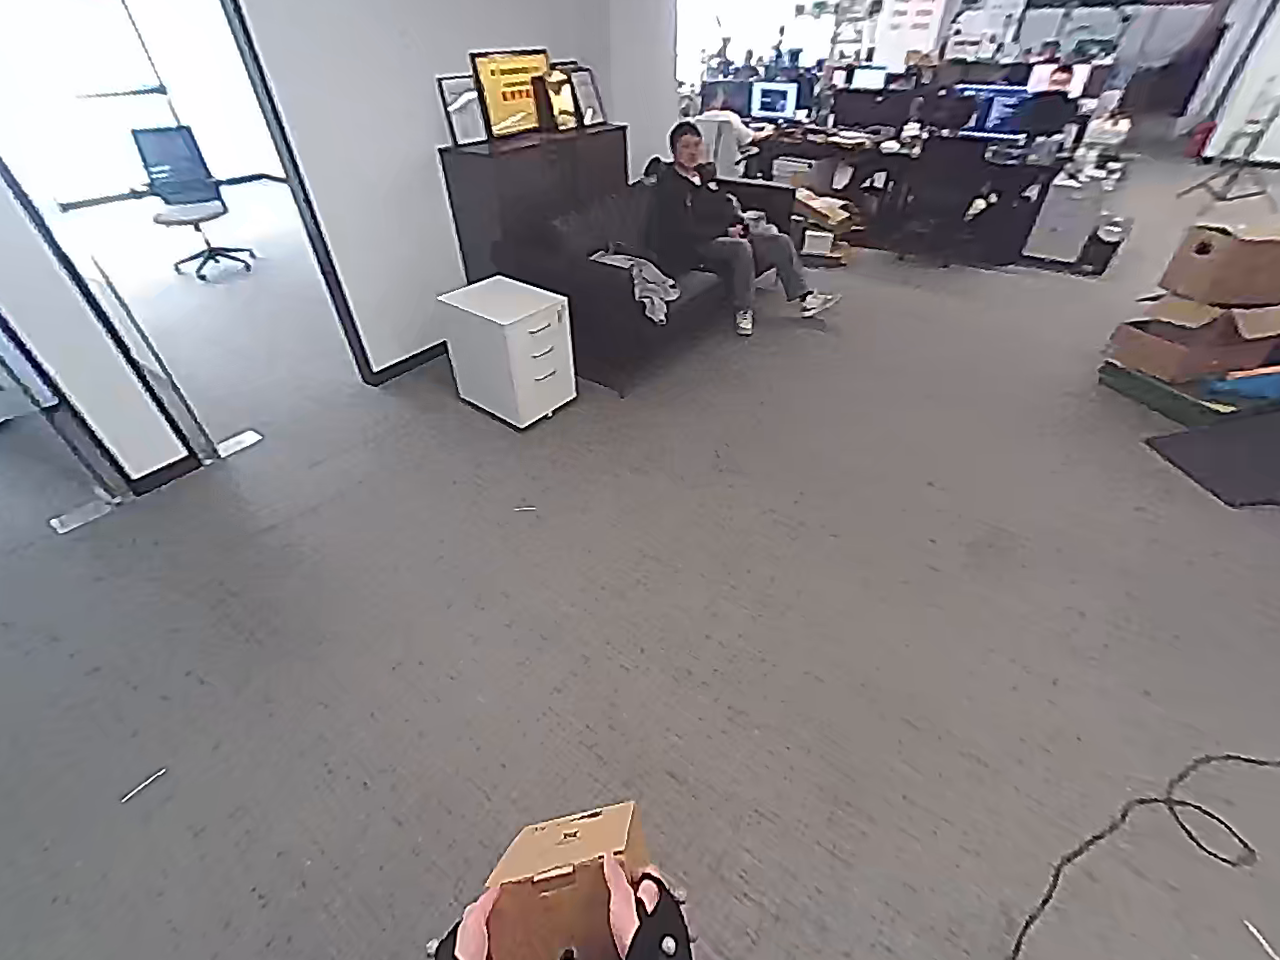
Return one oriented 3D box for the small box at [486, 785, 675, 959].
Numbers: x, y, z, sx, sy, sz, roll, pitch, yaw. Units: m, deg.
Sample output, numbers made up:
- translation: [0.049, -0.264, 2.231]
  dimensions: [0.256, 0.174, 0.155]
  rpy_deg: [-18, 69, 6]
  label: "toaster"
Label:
- translation: [-0.080, 0.517, 0.683]
  dimensions: [0.179, 0.168, 0.176]
  rpy_deg: [-6, 74, -29]
  label: "small box"
